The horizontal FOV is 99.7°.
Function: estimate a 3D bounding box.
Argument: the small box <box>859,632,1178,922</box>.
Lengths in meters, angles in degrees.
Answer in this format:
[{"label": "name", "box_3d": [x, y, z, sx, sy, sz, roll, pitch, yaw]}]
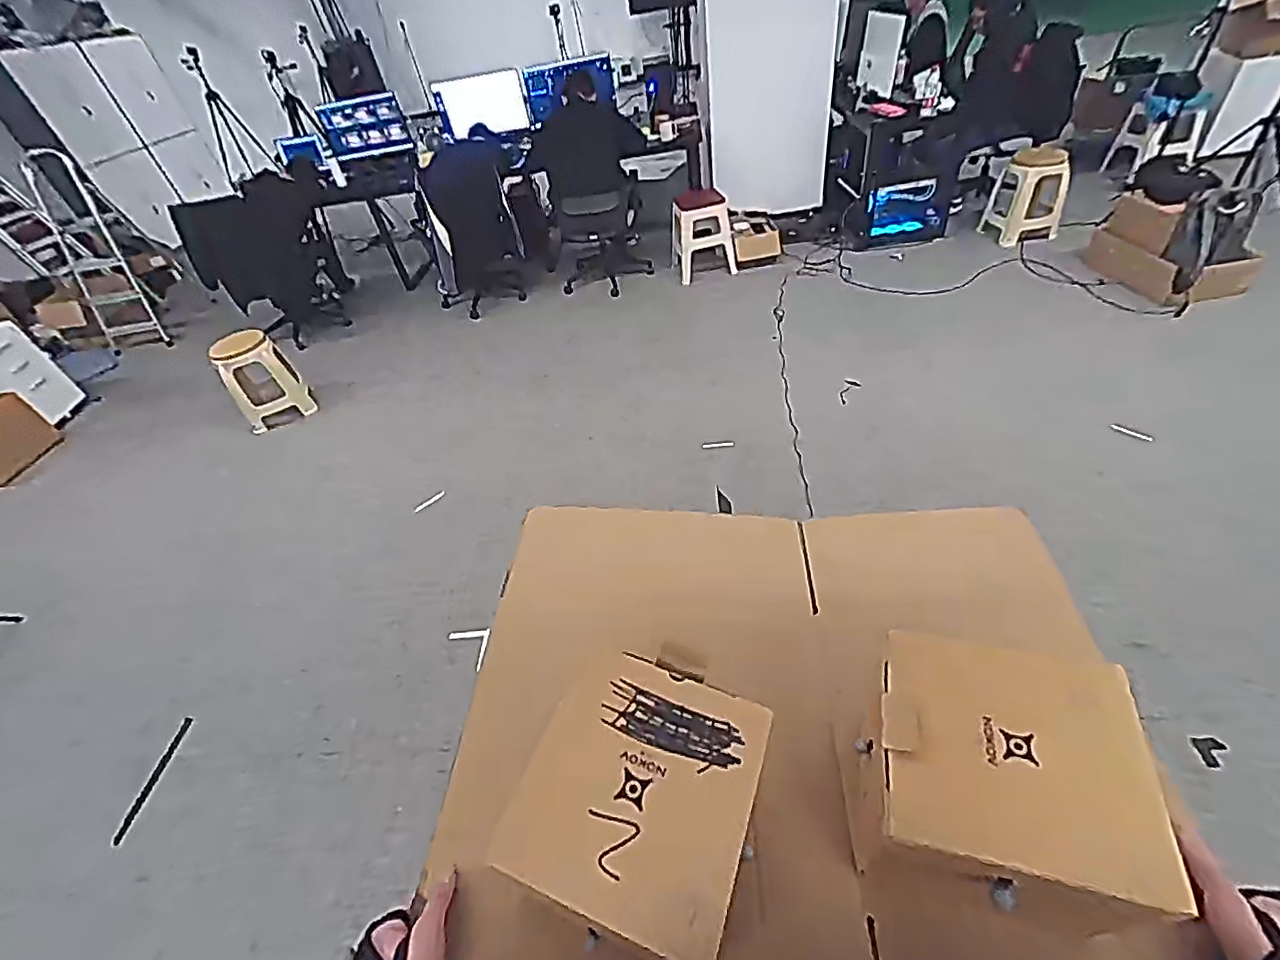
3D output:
[{"label": "small box", "box_3d": [0.296, 0.259, 0.474, 0.179, 0.176, 0.168, 4, 48, 19]}]
